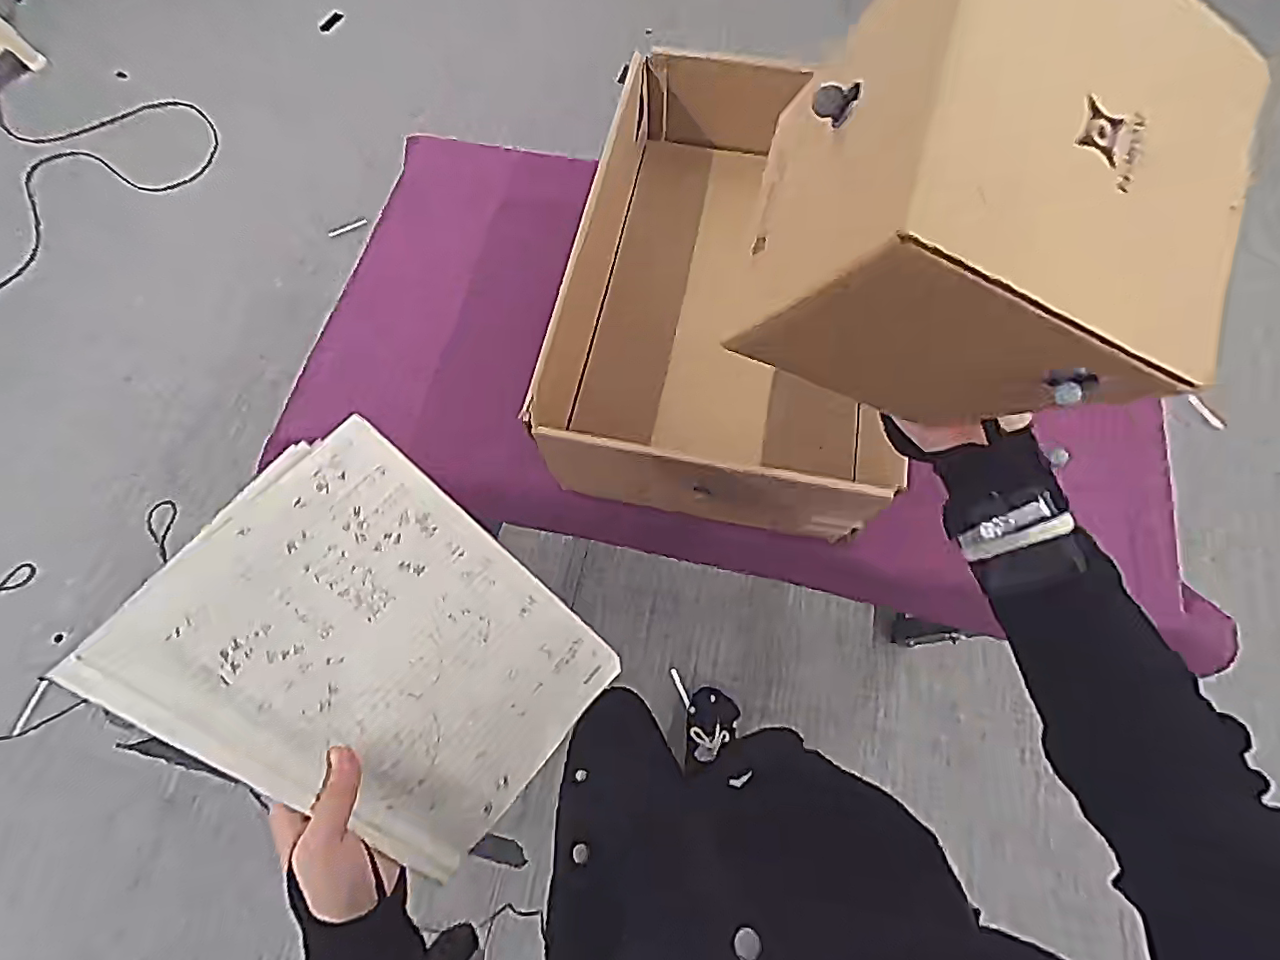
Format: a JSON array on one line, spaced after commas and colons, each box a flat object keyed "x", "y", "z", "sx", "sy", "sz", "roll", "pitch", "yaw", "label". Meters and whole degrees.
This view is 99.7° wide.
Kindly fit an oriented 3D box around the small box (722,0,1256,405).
[{"x": 0.169, "y": -0.151, "z": 0.303, "sx": 0.179, "sy": 0.176, "sz": 0.168, "roll": 18, "pitch": 85, "yaw": -17, "label": "small box"}]
